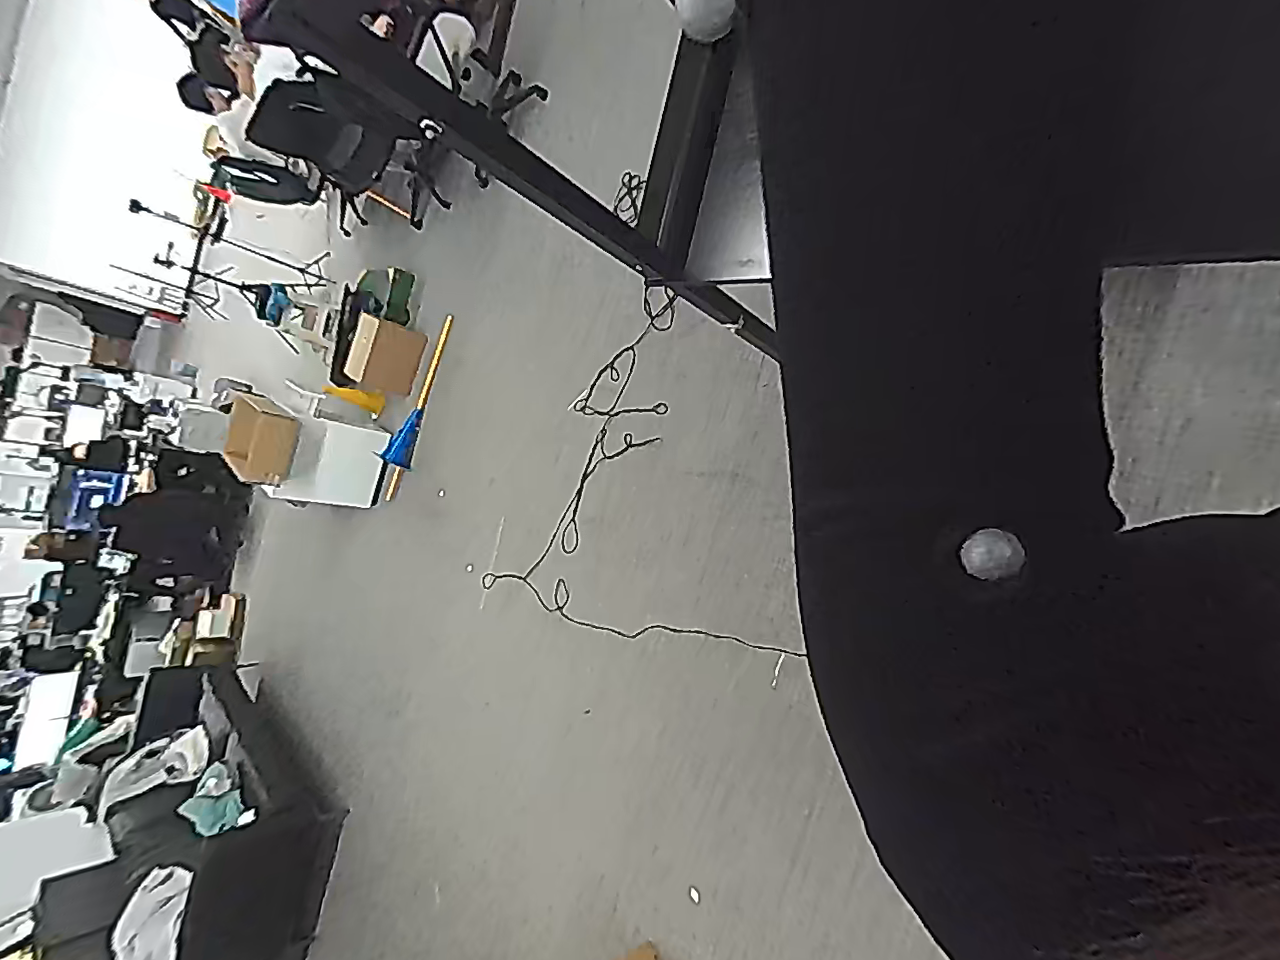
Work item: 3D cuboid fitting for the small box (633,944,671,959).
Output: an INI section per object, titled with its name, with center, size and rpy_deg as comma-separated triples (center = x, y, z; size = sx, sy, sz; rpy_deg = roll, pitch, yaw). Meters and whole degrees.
[small box]
center = 0.027, 1.604, 1.664
size = 0.168, 0.176, 0.179
rpy_deg = 24, 97, 41
